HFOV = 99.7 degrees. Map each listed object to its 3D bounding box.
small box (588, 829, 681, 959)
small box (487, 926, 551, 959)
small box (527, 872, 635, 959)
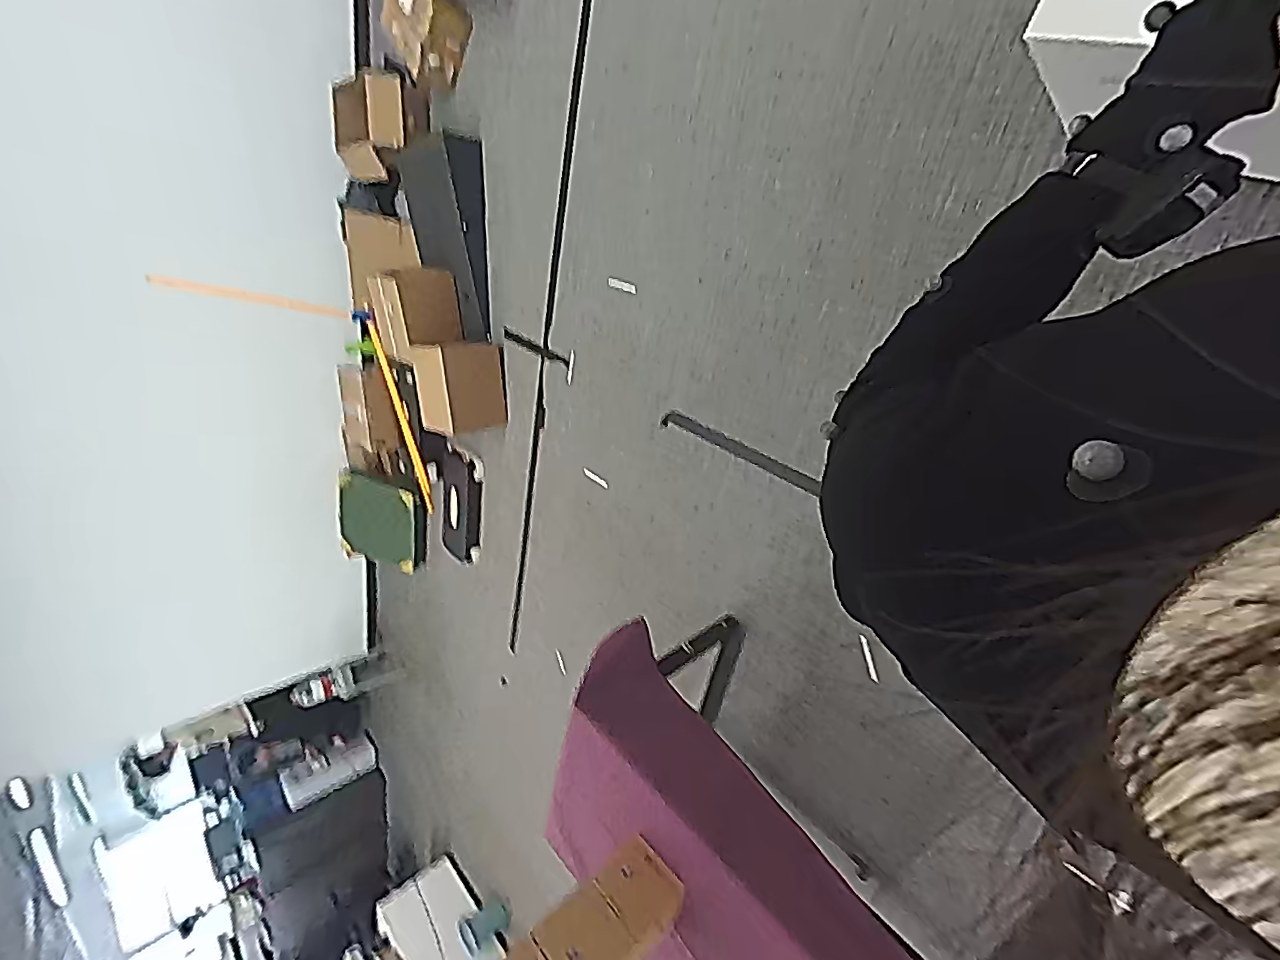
[{"bbox_3d":[-0.022,0.995,1.298,0.168,0.176,0.179,32,122,35],"label":"small box"},{"bbox_3d":[-0.252,1.056,1.072,0.168,0.176,0.179,32,122,35],"label":"small box"},{"bbox_3d":[-0.134,1.023,1.182,0.179,0.176,0.168,31,120,36],"label":"small box"}]
